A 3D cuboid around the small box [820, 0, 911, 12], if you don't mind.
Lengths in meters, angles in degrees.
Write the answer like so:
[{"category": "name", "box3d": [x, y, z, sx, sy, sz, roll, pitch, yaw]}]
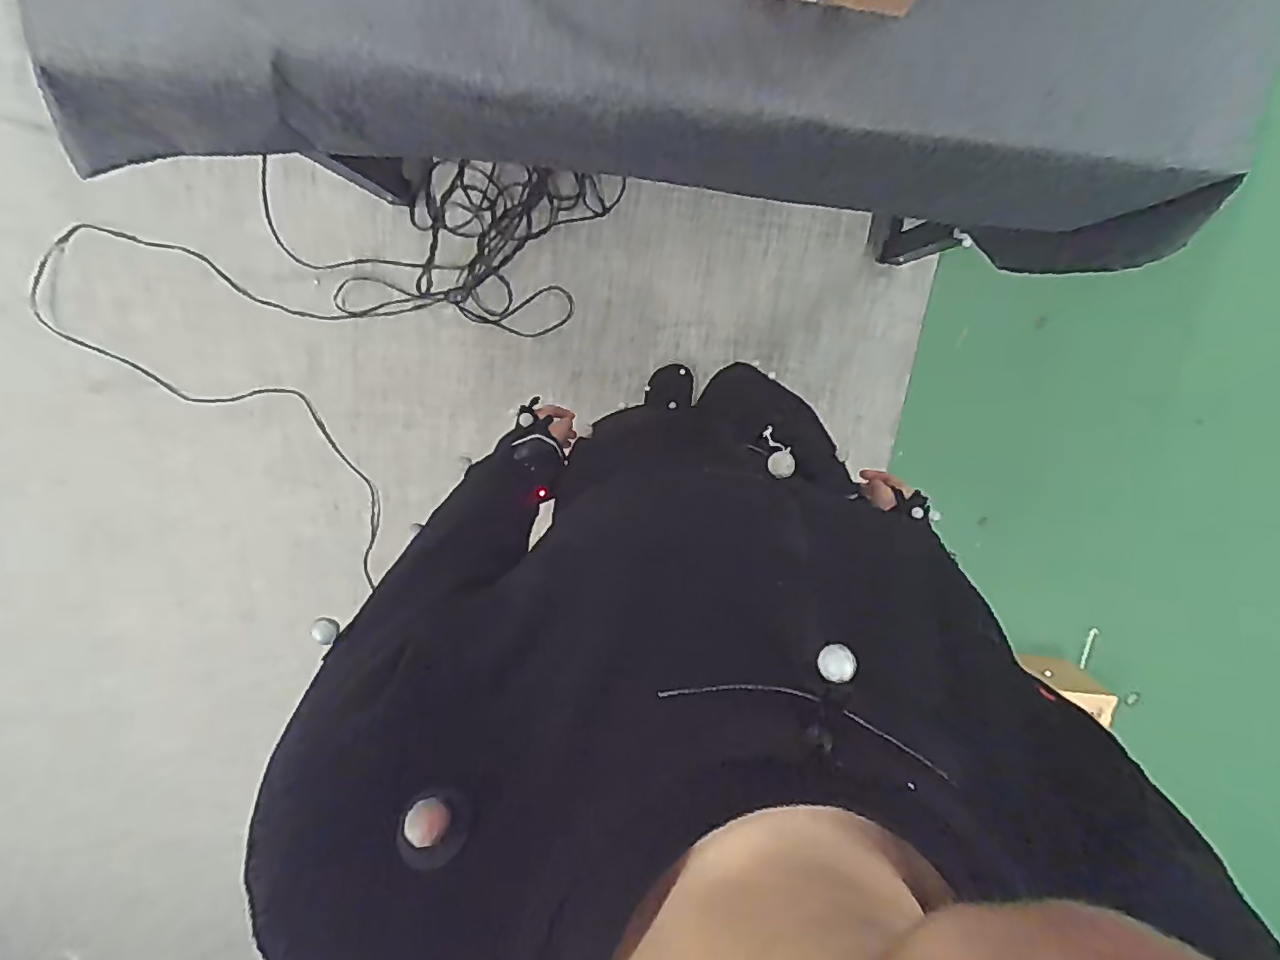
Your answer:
[{"category": "small box", "box3d": [0.180, -0.509, 0.404, 0.168, 0.176, 0.179, 7, 105, 0]}]
